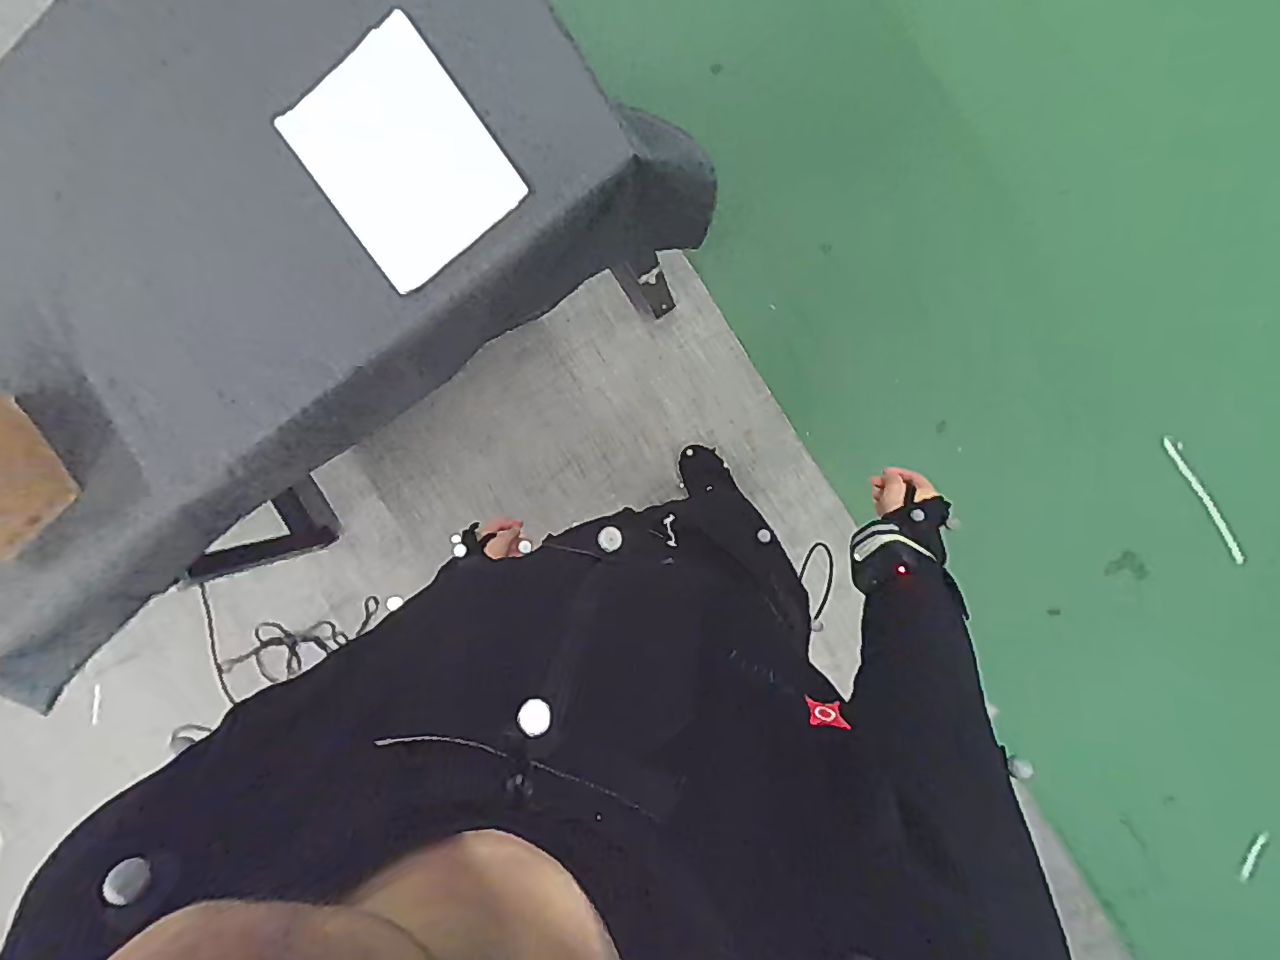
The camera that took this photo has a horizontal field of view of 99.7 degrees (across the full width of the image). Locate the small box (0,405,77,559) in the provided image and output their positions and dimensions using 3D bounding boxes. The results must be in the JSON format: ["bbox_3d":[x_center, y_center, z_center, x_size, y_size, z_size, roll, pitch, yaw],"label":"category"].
[{"bbox_3d":[-0.892,0.008,0.683,0.168,0.176,0.179,-38,87,8],"label":"small box"}]
